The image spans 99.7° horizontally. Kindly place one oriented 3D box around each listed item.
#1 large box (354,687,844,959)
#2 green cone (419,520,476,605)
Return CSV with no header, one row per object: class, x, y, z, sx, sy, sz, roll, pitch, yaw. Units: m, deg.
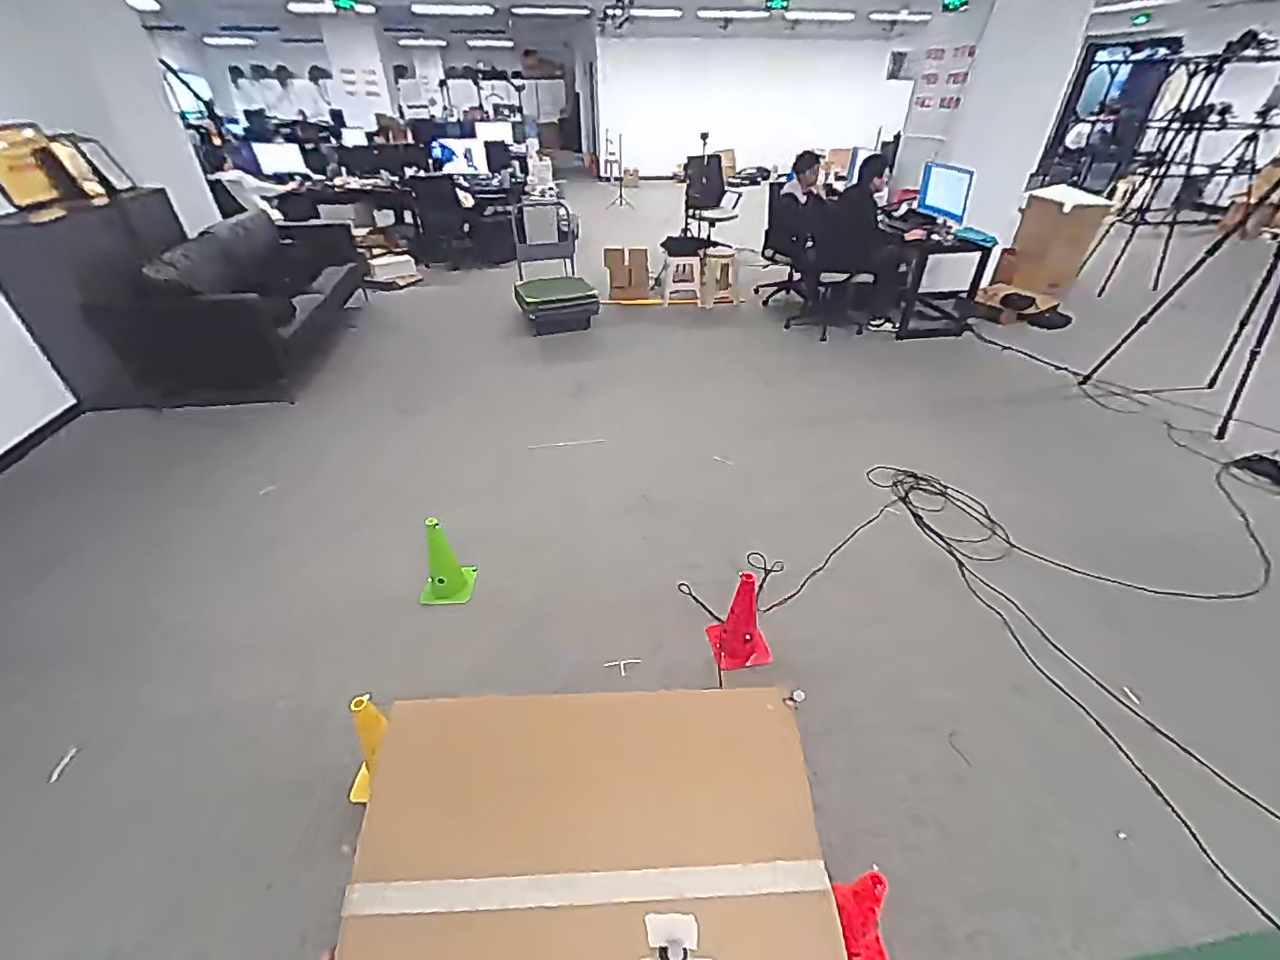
large box,-0.039,0.435,0.586,0.408,0.320,0.320,-1,54,-2
green cone,-0.799,0.303,2.149,0.200,0.368,0.202,-2,37,-2
